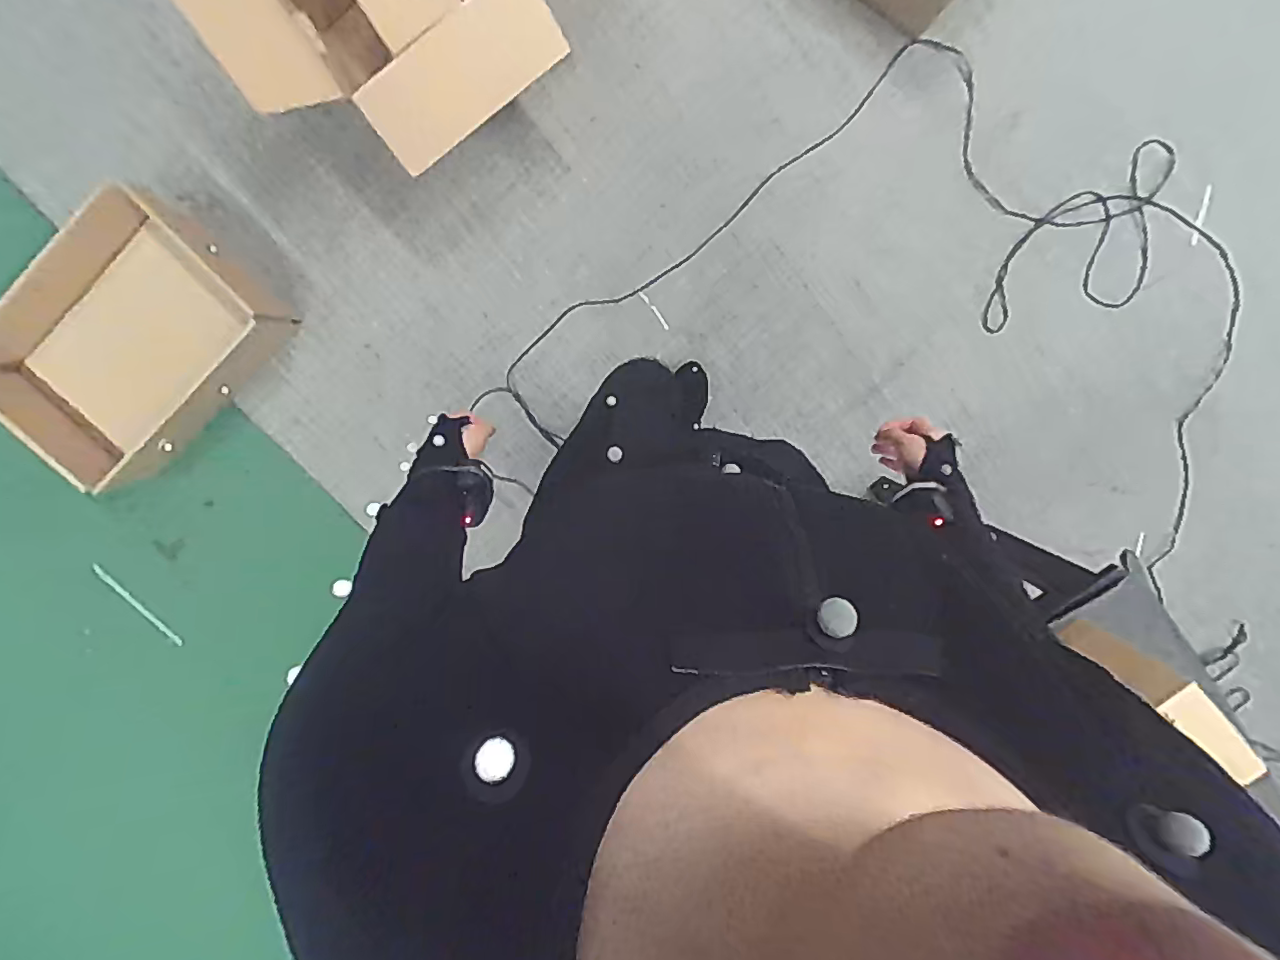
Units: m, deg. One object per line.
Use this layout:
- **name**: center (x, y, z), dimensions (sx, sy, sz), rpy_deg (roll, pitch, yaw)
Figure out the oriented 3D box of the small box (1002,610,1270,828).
- **small box**: center (0.658, 0.314, 0.741), dimensions (0.168, 0.176, 0.179), rpy_deg (-44, 100, 9)
